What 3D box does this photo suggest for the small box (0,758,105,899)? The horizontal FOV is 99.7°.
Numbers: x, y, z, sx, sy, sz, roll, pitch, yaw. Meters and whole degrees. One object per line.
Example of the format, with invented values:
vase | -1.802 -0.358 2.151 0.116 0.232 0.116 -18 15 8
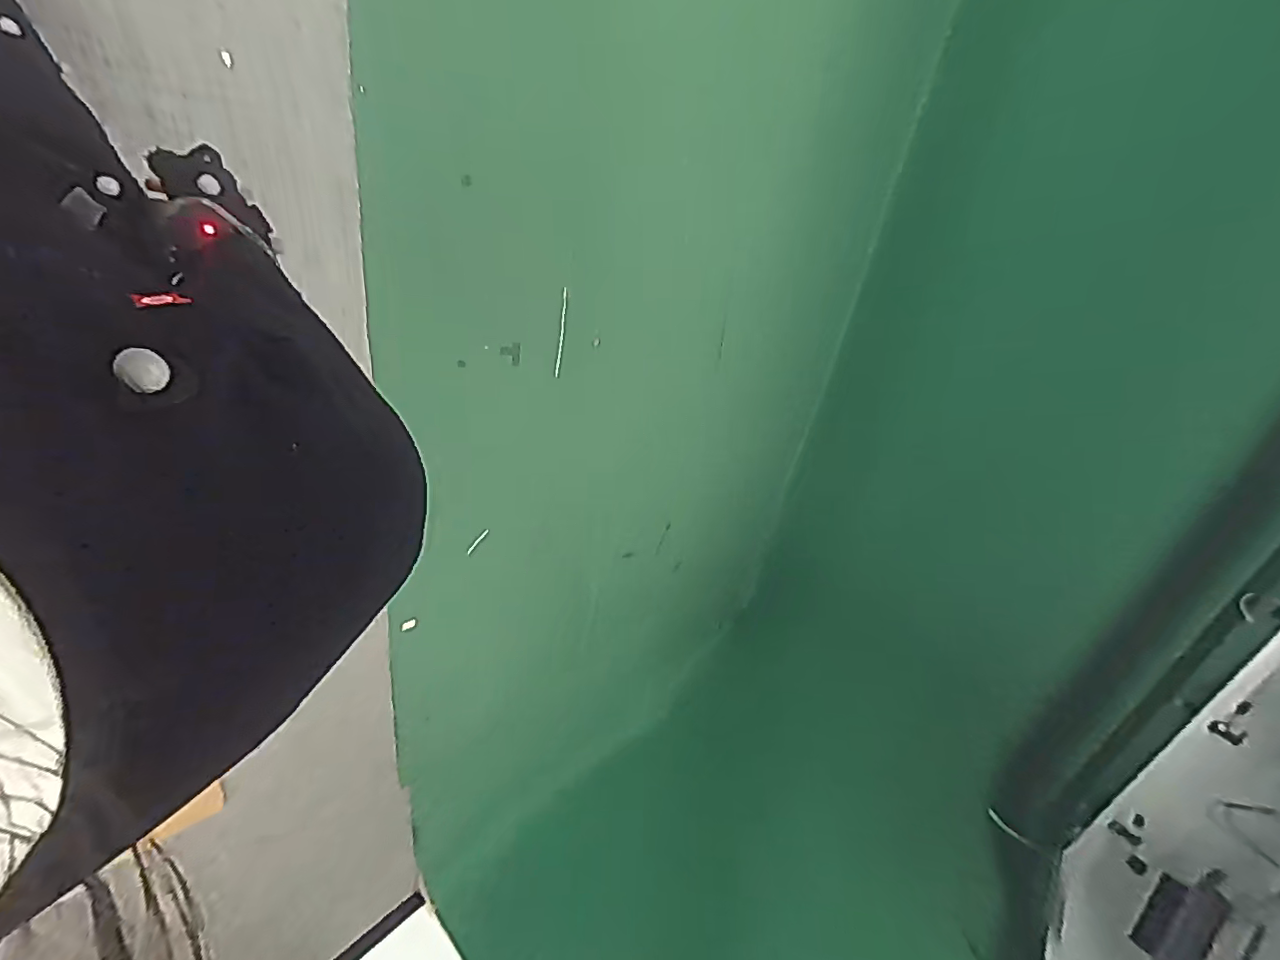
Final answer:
small box | -1.388 0.787 1.239 0.179 0.176 0.168 -24 135 -43
